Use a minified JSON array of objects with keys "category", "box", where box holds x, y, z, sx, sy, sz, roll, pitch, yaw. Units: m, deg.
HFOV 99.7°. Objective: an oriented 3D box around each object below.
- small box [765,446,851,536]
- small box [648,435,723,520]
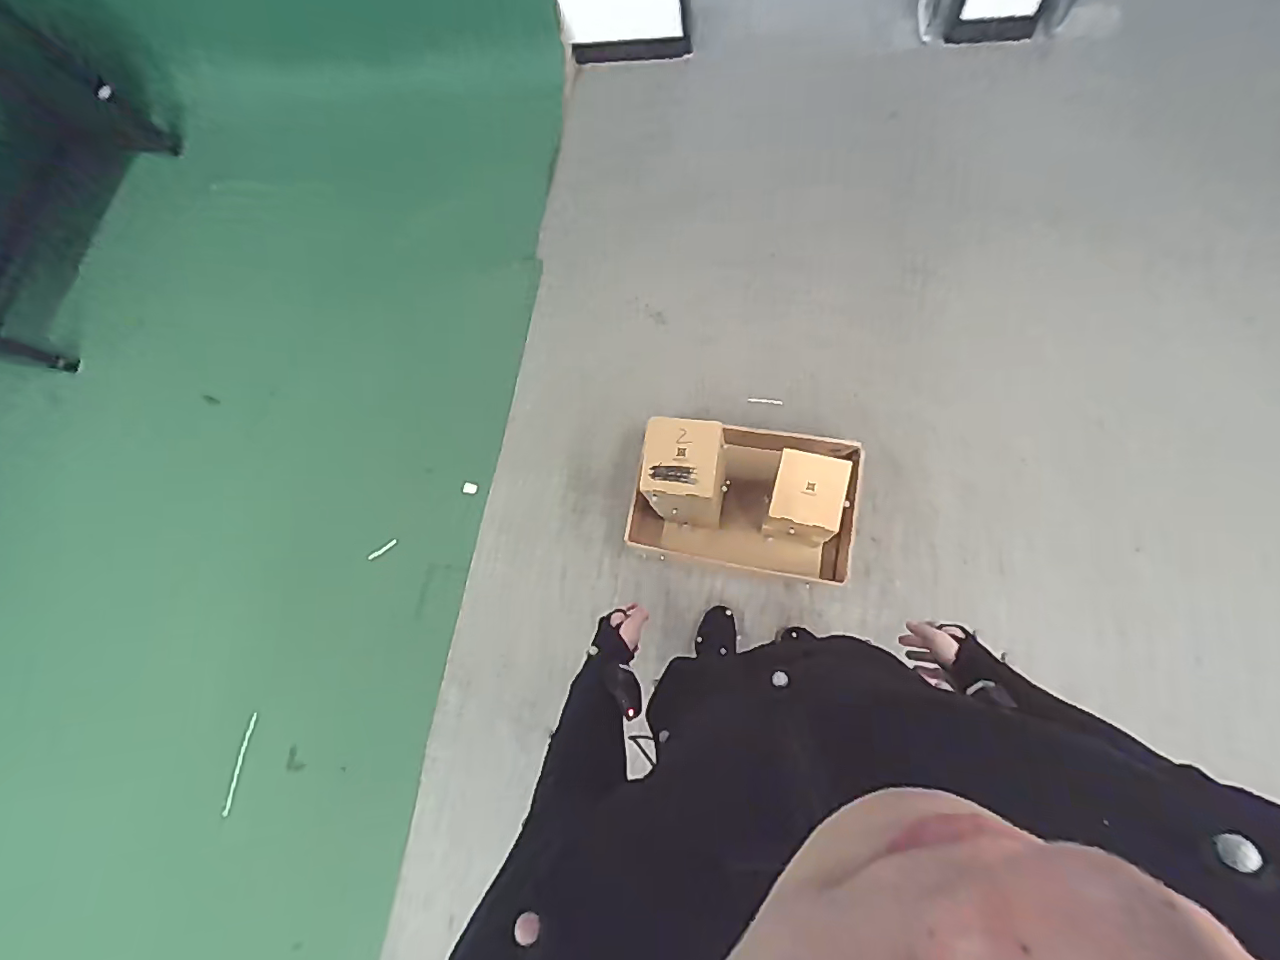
[{"category":"small box","box":[0.418,0.033,1.369,0.168,0.176,0.179,13,81,13]},{"category":"small box","box":[0.127,-0.003,1.429,0.168,0.176,0.179,7,77,13]}]
